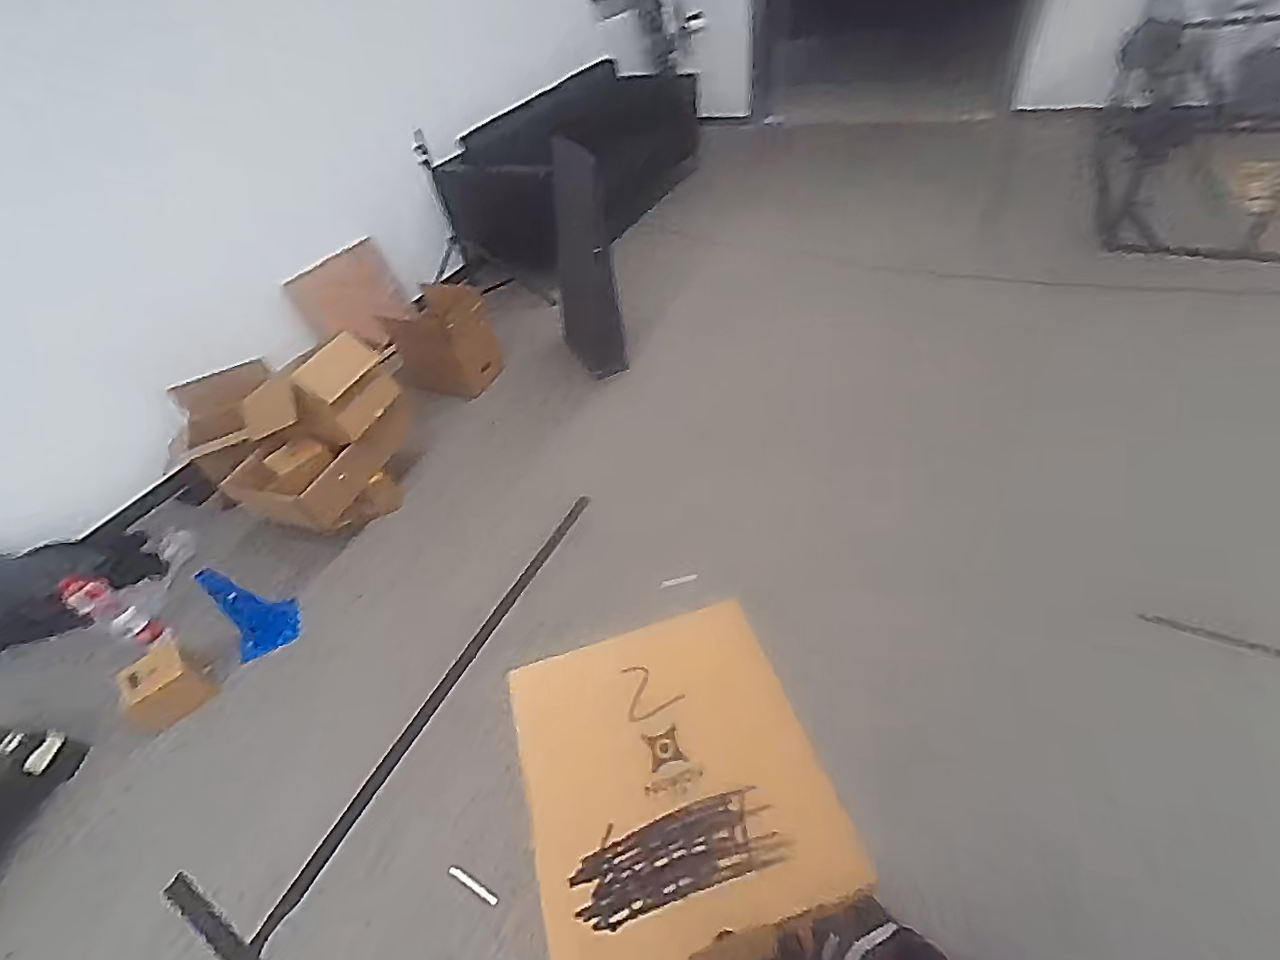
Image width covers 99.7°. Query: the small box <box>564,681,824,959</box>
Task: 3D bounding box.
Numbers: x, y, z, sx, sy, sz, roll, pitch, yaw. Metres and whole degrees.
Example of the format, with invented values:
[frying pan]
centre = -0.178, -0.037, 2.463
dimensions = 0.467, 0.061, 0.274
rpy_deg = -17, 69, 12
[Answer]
[small box]
centre = 0.038, 0.322, 0.496
dimensions = 0.168, 0.176, 0.179
rpy_deg = -16, 48, -10
